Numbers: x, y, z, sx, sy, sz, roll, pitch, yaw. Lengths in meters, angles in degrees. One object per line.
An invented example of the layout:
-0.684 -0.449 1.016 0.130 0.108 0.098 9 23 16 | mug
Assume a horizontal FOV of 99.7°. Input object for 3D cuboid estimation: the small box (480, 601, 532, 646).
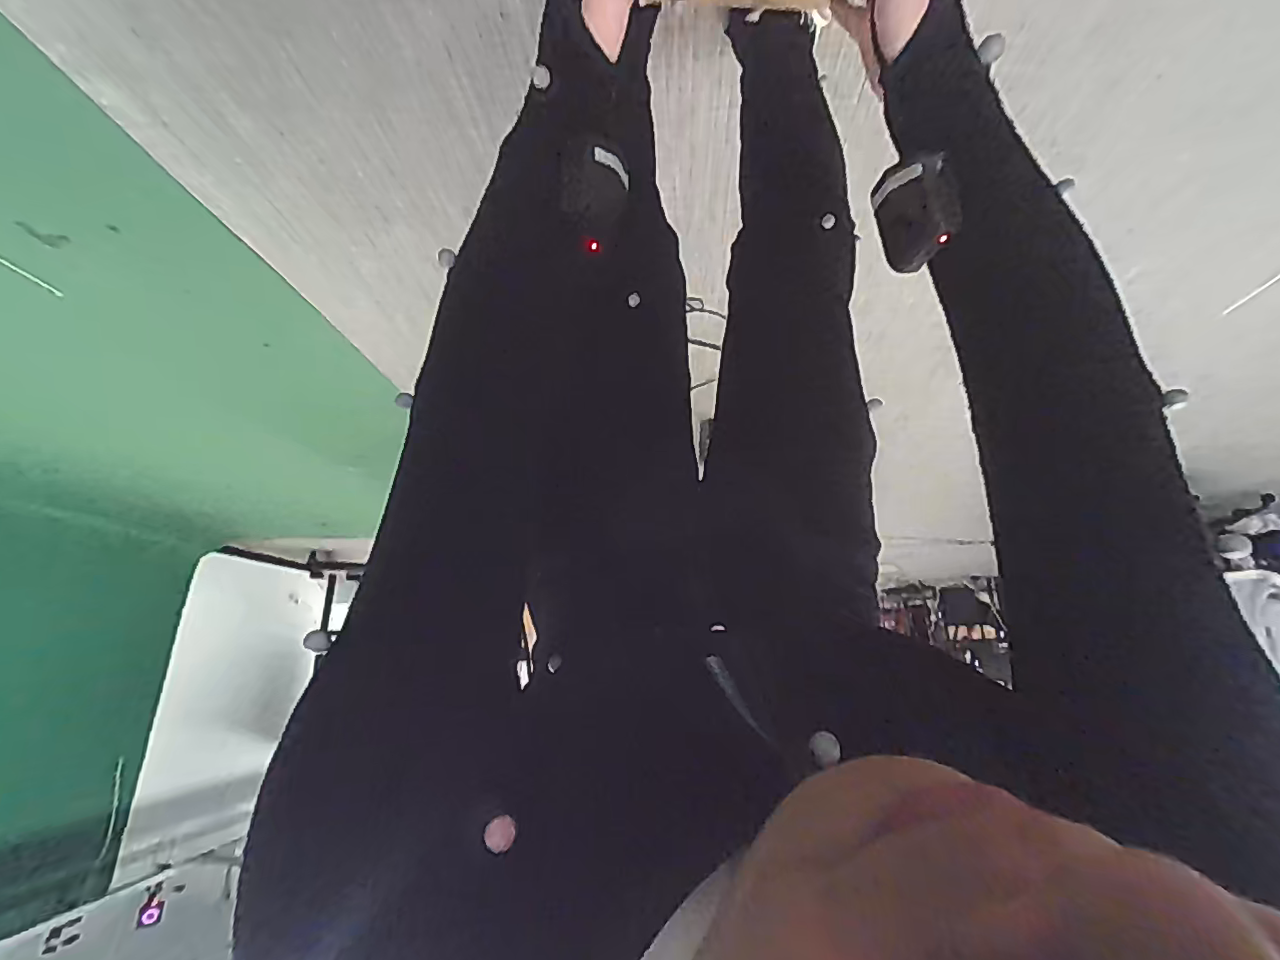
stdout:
-0.537 0.581 2.189 0.168 0.176 0.179 -2 163 2 | small box
